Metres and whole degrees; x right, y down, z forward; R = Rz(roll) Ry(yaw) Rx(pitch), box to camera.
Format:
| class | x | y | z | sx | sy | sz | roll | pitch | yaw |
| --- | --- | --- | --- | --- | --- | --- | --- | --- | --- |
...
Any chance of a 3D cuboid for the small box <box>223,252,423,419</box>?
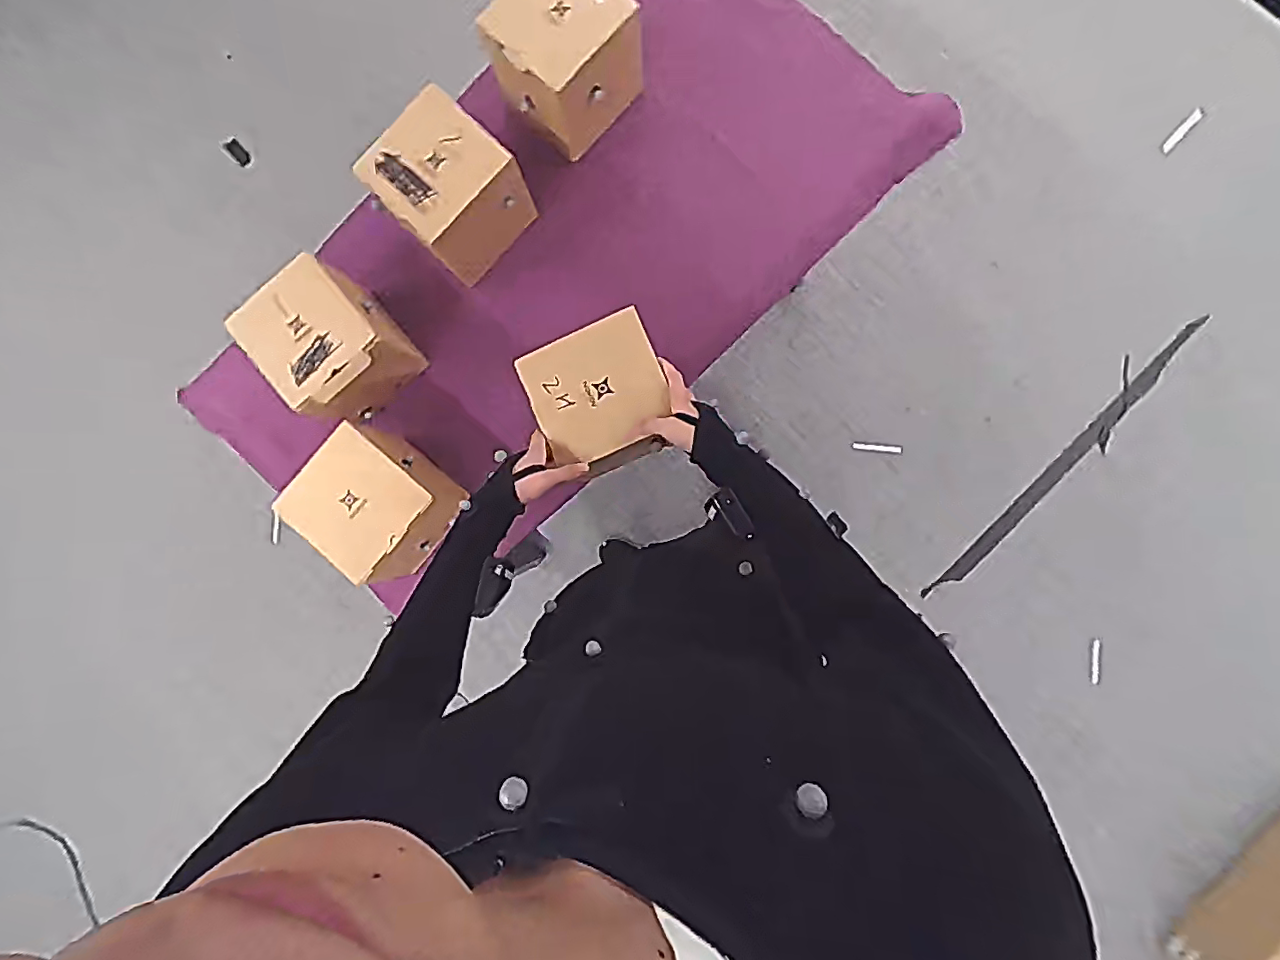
| class | x | y | z | sx | sy | sz | roll | pitch | yaw |
| --- | --- | --- | --- | --- | --- | --- | --- | --- | --- |
| small box | -0.483 | -0.212 | 0.854 | 0.168 | 0.176 | 0.179 | -41 | 87 | 1 |

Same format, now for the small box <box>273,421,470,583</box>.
| class | x | y | z | sx | sy | sz | roll | pitch | yaw |
| --- | --- | --- | --- | --- | --- | --- | --- | --- | --- |
| small box | -0.401 | 0.037 | 0.840 | 0.179 | 0.176 | 0.168 | 39 | 89 | 3 |

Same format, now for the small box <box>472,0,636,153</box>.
| class | x | y | z | sx | sy | sz | roll | pitch | yaw |
| --- | --- | --- | --- | --- | --- | --- | --- | --- | --- |
| small box | -0.119 | -0.663 | 0.842 | 0.168 | 0.176 | 0.179 | 43 | 93 | 1 |

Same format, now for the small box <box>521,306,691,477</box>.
| class | x | y | z | sx | sy | sz | roll | pitch | yaw |
| --- | --- | --- | --- | --- | --- | --- | --- | --- | --- |
| small box | -0.038 | -0.112 | 0.762 | 0.179 | 0.176 | 0.168 | -23 | 86 | 5 |
